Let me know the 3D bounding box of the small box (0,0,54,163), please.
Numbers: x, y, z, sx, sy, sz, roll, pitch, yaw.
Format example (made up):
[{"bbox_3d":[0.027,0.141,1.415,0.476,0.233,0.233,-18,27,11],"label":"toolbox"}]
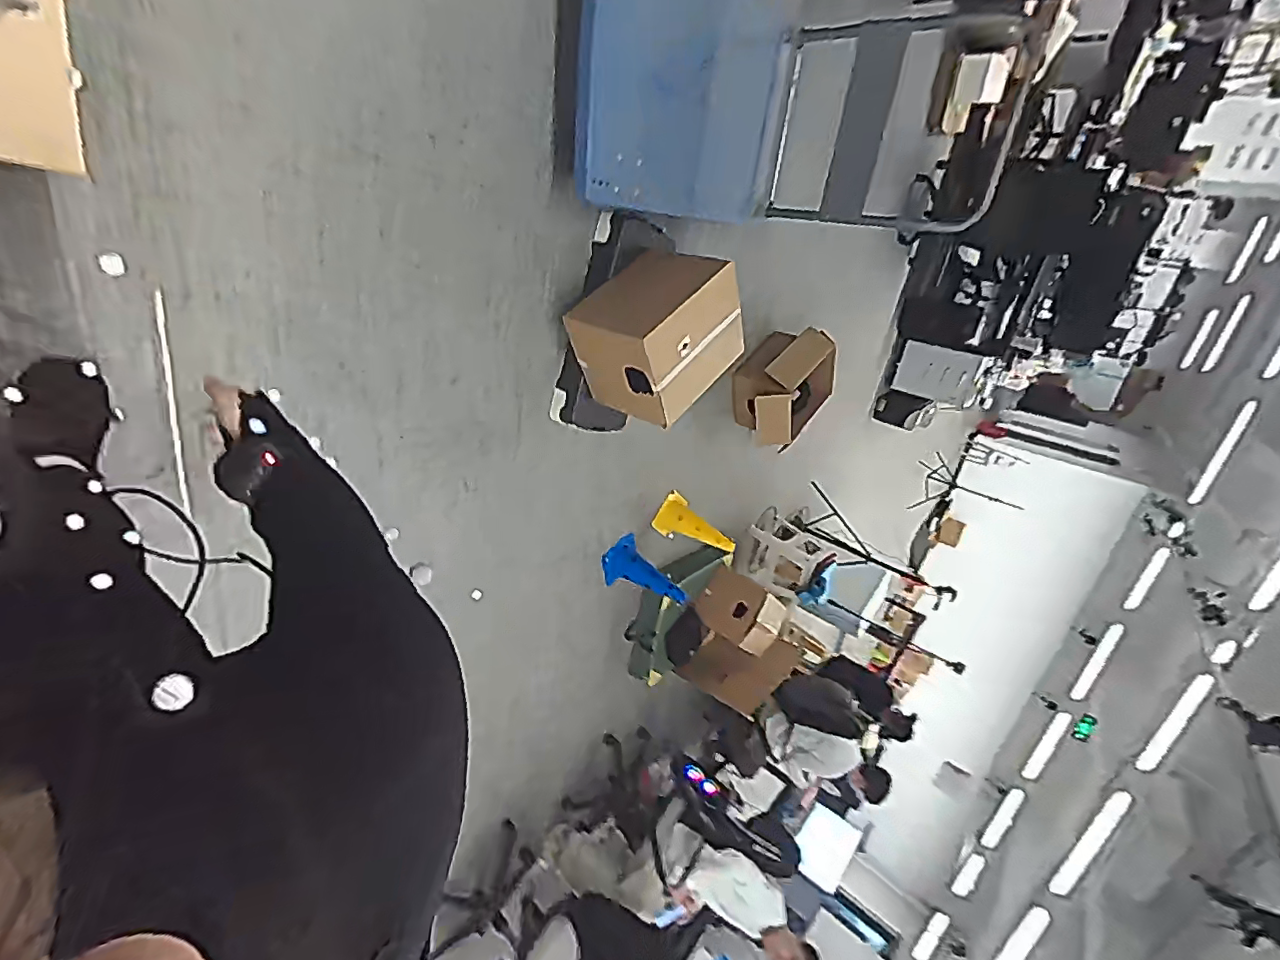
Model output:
[{"bbox_3d":[-0.746,-0.441,0.551,0.179,0.176,0.168,-13,122,-50],"label":"small box"}]
